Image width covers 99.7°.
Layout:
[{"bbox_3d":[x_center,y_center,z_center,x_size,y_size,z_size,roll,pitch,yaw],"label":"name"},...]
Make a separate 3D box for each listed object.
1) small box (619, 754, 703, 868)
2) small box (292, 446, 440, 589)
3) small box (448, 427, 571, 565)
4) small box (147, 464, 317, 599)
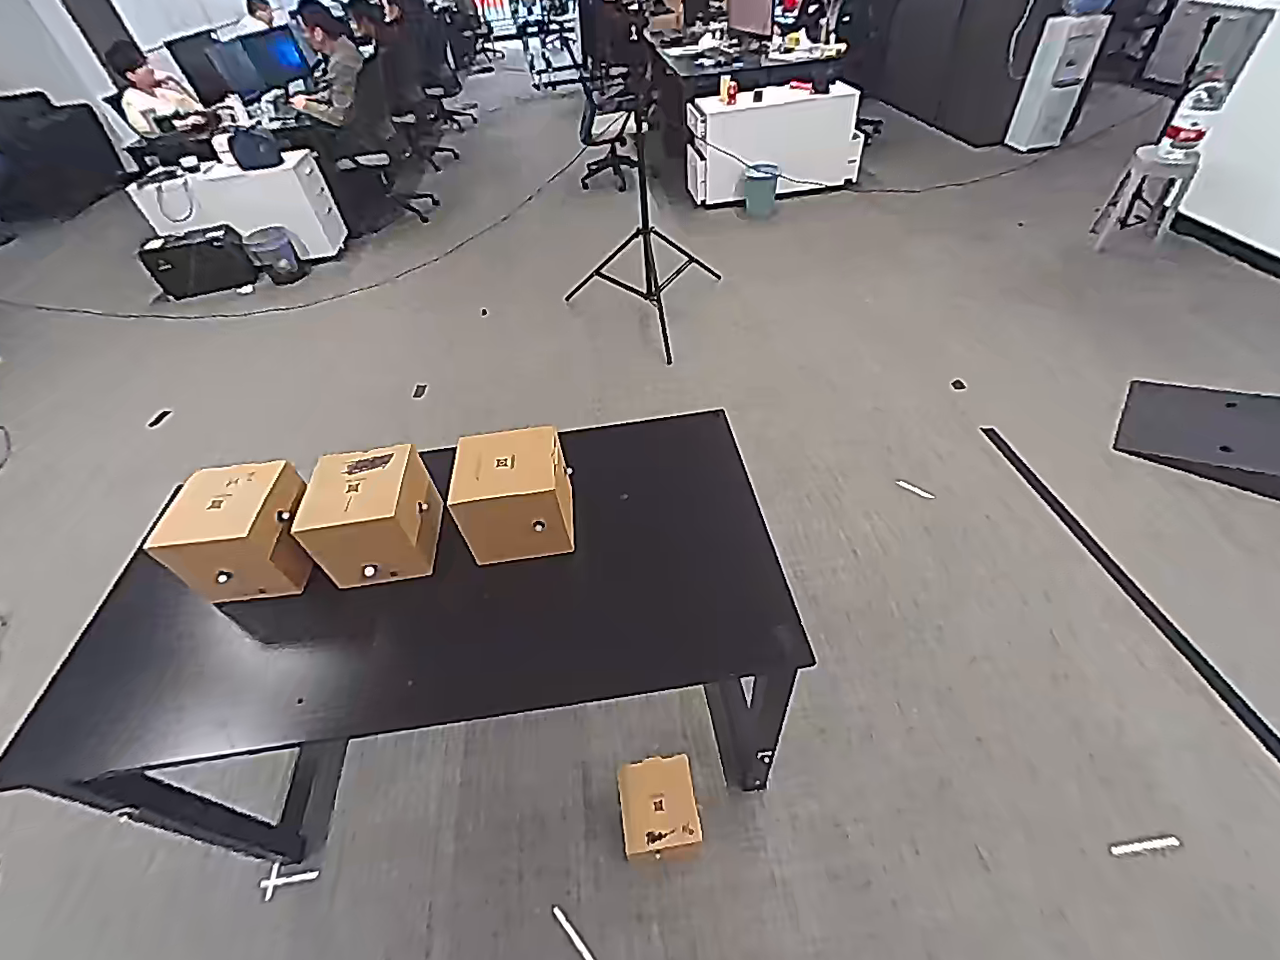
[{"bbox_3d":[0.047,0.762,1.244,0.168,0.176,0.179,-10,45,-2],"label":"small box"},{"bbox_3d":[-0.468,0.067,0.958,0.168,0.176,0.179,-9,47,-3],"label":"small box"},{"bbox_3d":[-0.222,0.031,0.969,0.179,0.176,0.168,-9,45,-1],"label":"small box"},{"bbox_3d":[-0.690,0.097,0.957,0.168,0.176,0.179,-6,46,0],"label":"small box"}]
